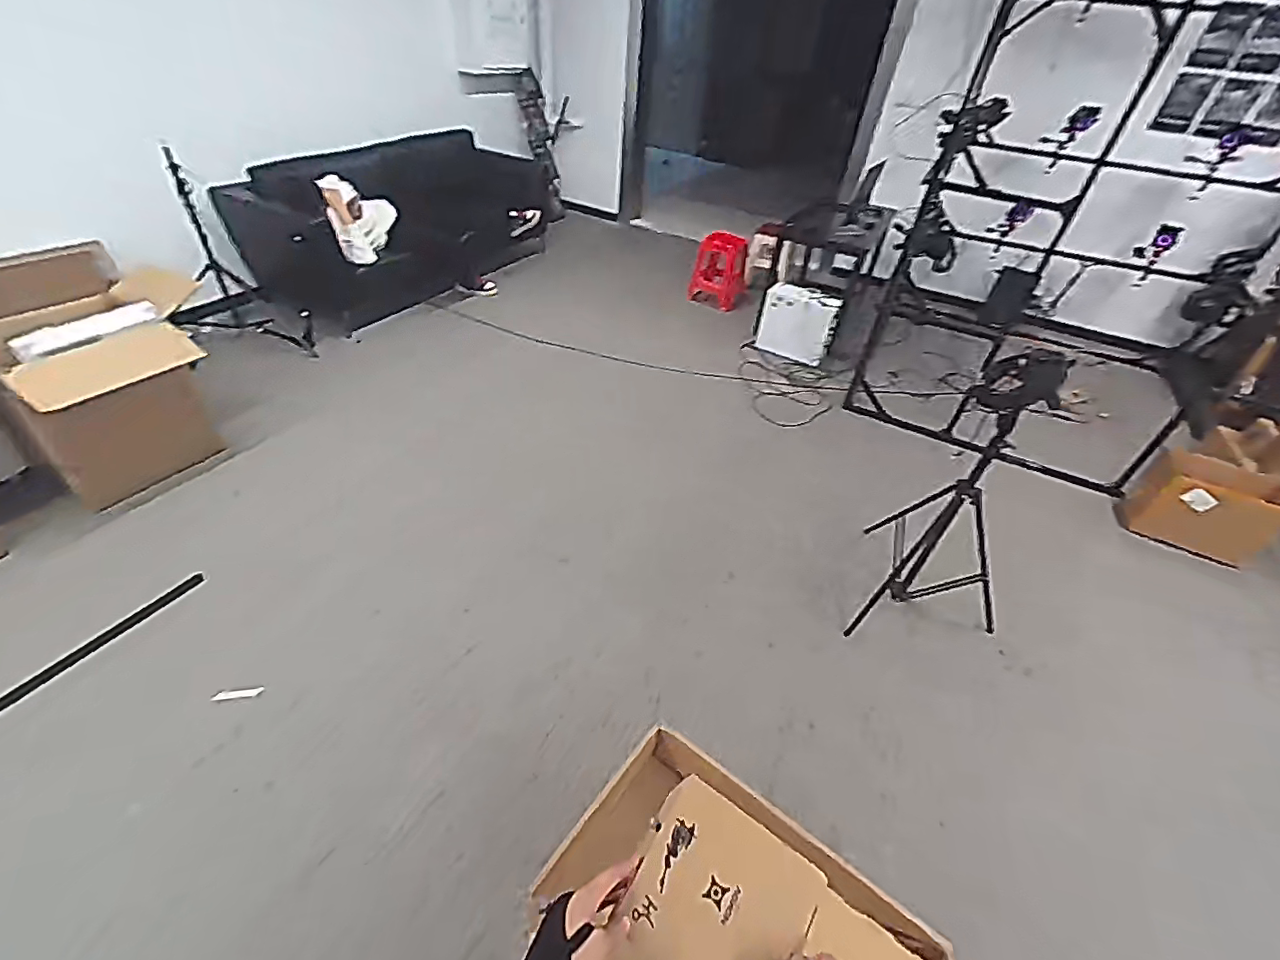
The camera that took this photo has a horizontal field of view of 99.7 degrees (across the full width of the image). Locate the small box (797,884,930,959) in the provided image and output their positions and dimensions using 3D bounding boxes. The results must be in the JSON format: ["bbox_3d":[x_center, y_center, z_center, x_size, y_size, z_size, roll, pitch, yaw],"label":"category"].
[{"bbox_3d":[0.278,0.713,0.734,0.168,0.176,0.179,28,43,23],"label":"small box"}]

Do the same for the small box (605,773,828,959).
[{"bbox_3d":[0.076,0.469,0.616,0.179,0.176,0.168,31,58,15],"label":"small box"}]
